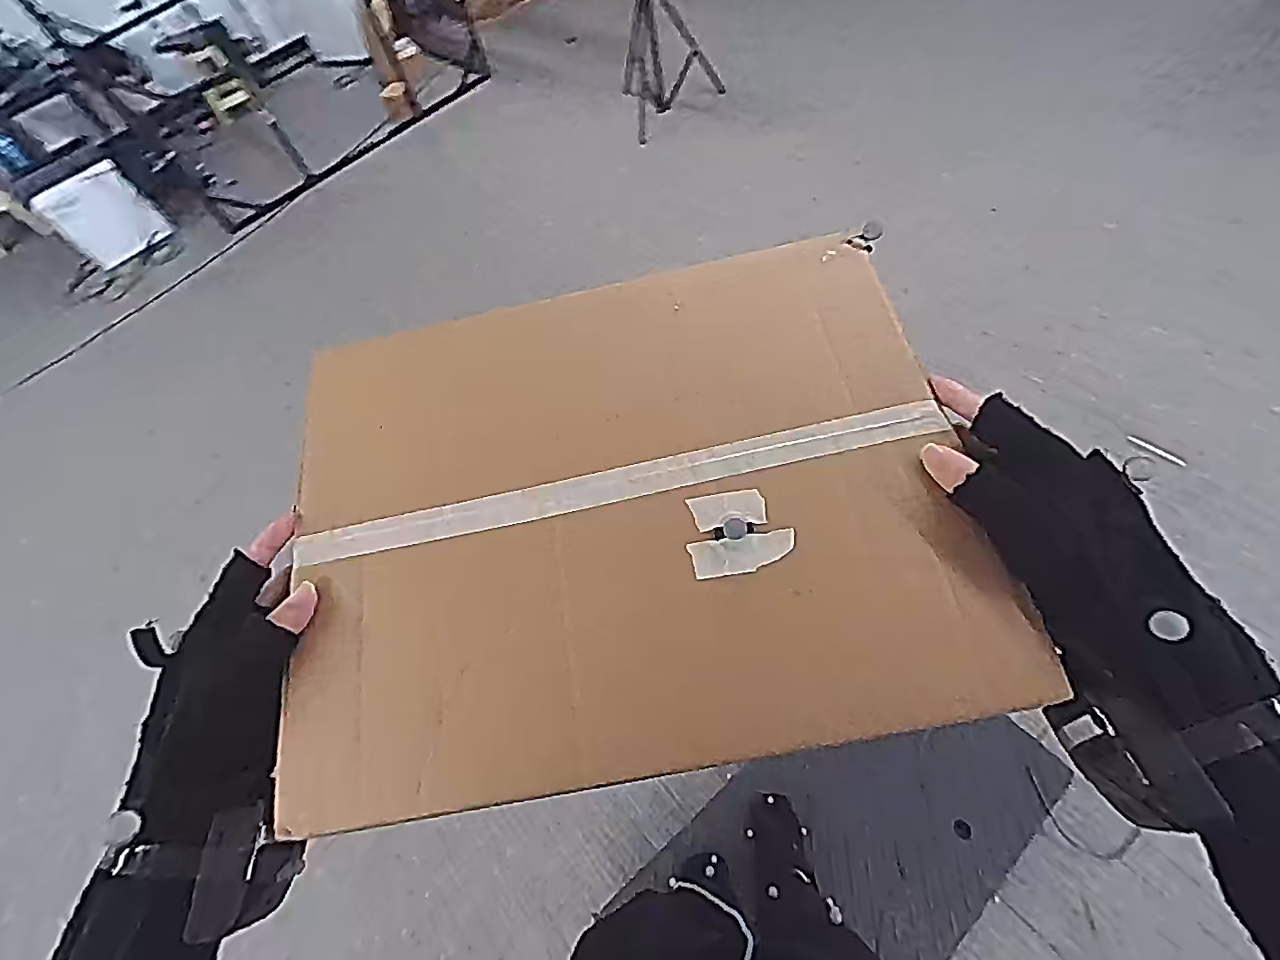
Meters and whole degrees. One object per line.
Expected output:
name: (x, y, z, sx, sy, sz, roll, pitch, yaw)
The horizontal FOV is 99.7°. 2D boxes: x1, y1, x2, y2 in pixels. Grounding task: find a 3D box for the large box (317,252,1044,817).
large box: (0.009, 0.065, 0.481, 0.408, 0.320, 0.320, -11, 67, 3)
